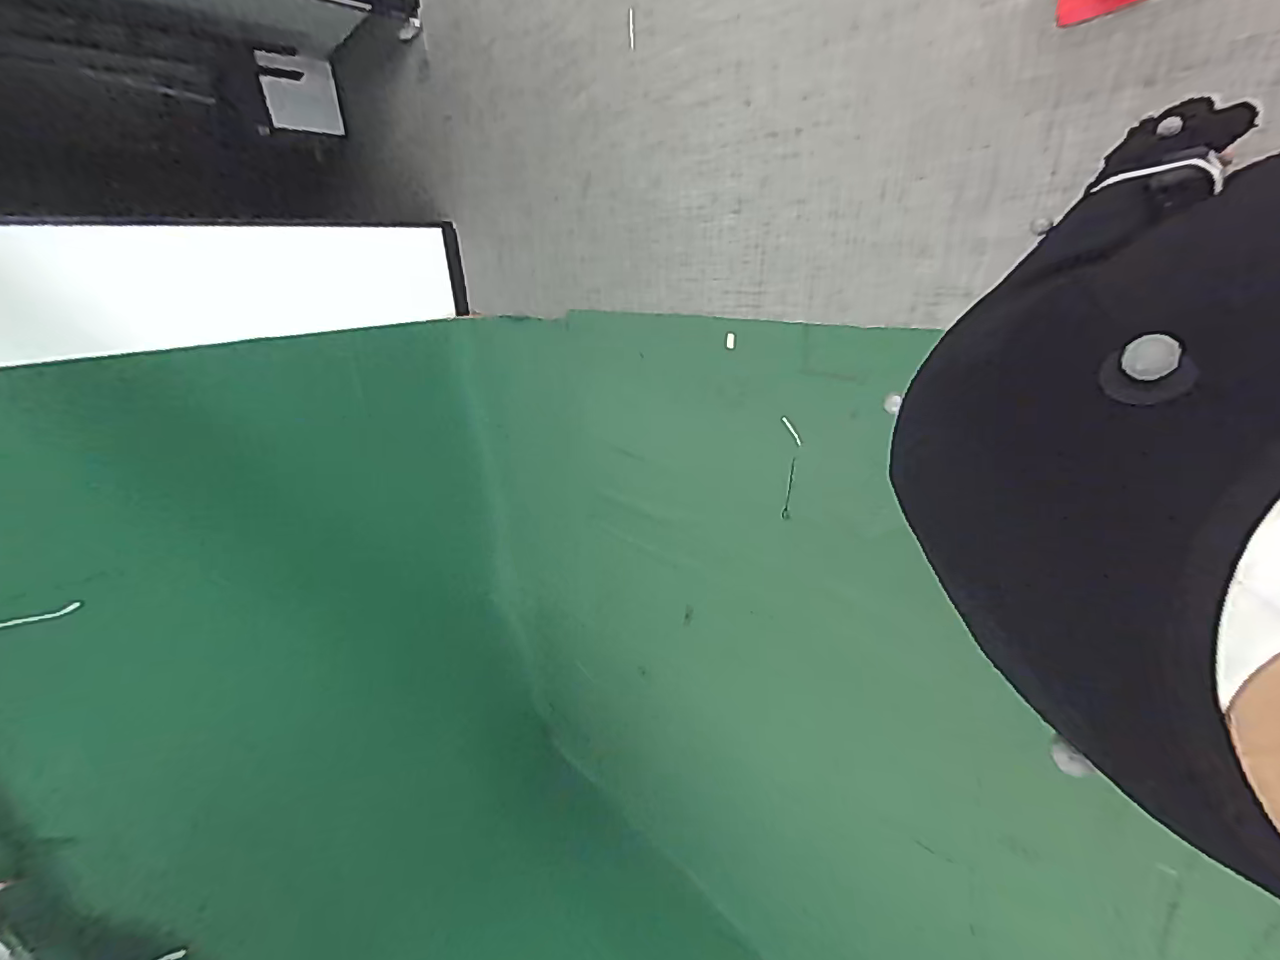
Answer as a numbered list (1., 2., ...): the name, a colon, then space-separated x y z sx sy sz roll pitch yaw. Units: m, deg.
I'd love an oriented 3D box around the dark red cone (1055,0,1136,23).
1. dark red cone: 0.730 -0.887 0.827 0.202 0.394 0.201 13 117 46
